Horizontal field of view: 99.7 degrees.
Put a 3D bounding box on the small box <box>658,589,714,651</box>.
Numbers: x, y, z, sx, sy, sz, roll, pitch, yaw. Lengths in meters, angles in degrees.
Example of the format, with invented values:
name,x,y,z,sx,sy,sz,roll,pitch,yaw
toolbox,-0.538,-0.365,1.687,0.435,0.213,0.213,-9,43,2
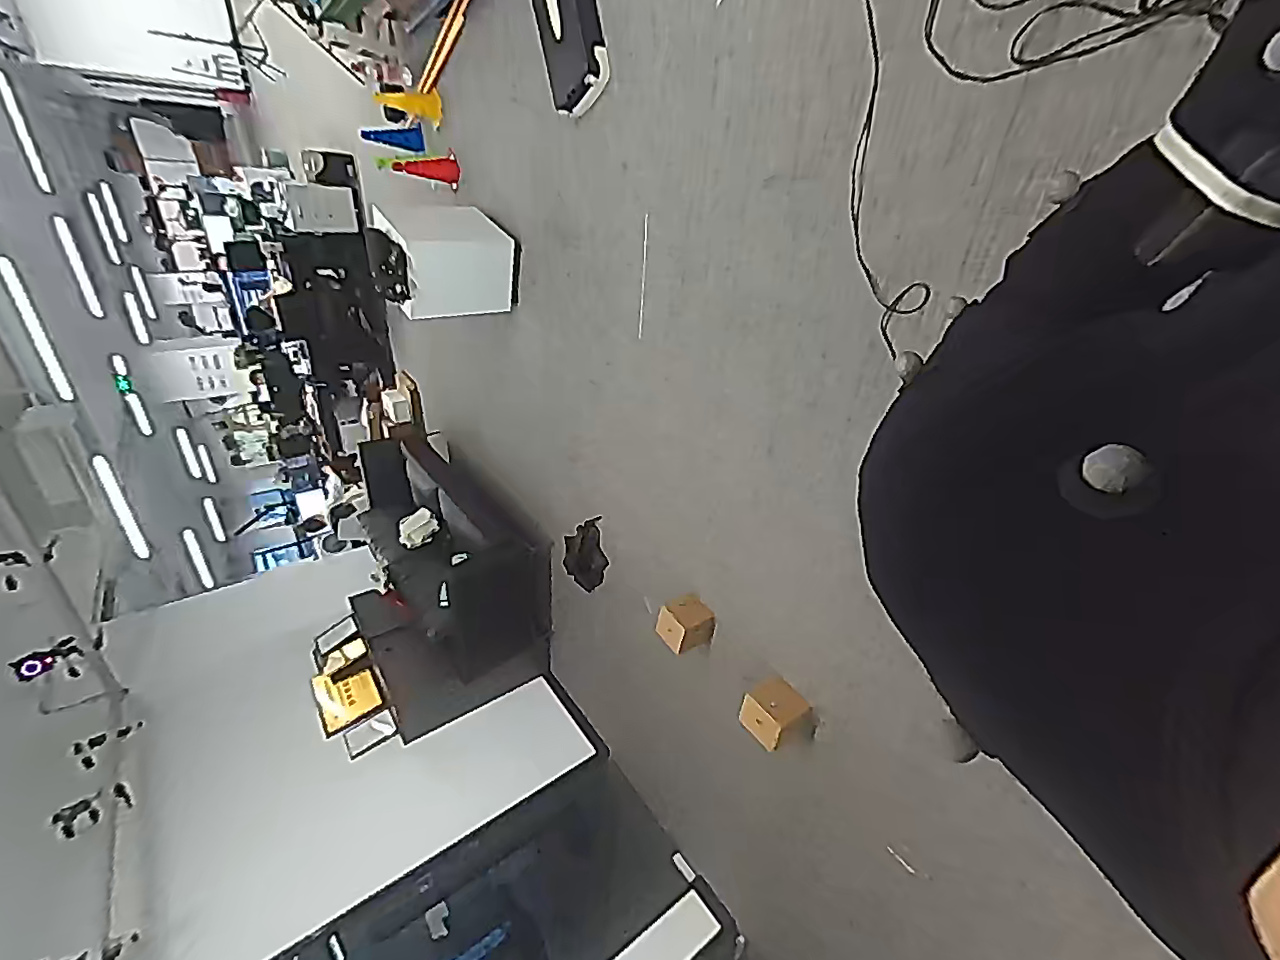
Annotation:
name,x,y,z,sx,sy,sz,roll,pitch,yaw
small box,0.204,0.614,2.393,0.168,0.176,0.179,43,138,39

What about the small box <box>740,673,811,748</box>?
name,x,y,z,sx,sy,sz,roll,pitch,yaw
small box,0.515,0.863,2.053,0.179,0.176,0.168,38,133,41
